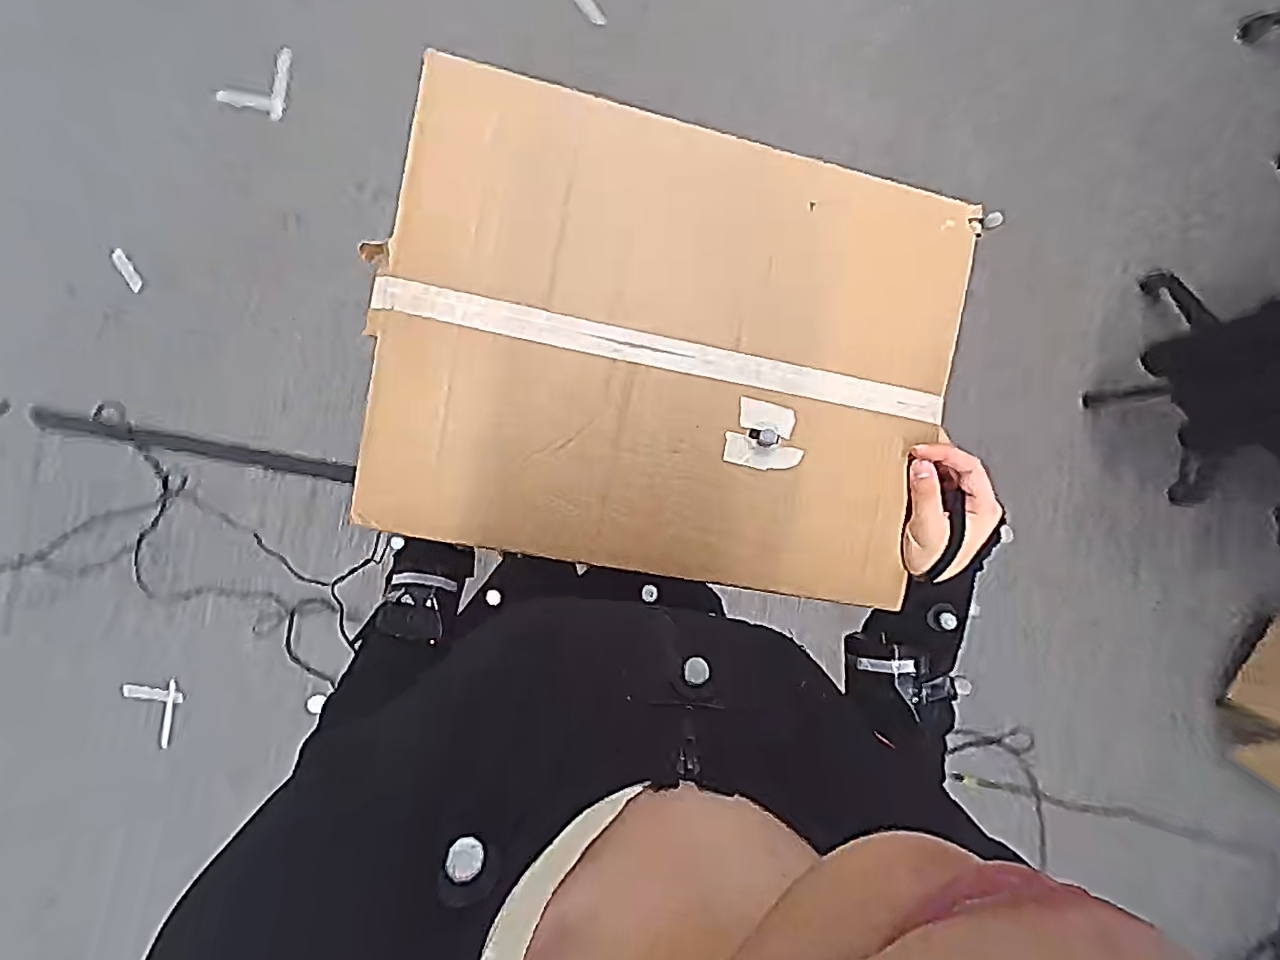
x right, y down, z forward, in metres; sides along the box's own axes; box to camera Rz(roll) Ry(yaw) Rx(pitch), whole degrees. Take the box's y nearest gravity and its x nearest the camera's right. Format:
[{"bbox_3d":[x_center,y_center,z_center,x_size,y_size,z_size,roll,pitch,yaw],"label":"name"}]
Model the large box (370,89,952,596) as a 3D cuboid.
[{"bbox_3d":[0.004,-0.092,0.538,0.408,0.320,0.320,9,93,-10],"label":"large box"}]
